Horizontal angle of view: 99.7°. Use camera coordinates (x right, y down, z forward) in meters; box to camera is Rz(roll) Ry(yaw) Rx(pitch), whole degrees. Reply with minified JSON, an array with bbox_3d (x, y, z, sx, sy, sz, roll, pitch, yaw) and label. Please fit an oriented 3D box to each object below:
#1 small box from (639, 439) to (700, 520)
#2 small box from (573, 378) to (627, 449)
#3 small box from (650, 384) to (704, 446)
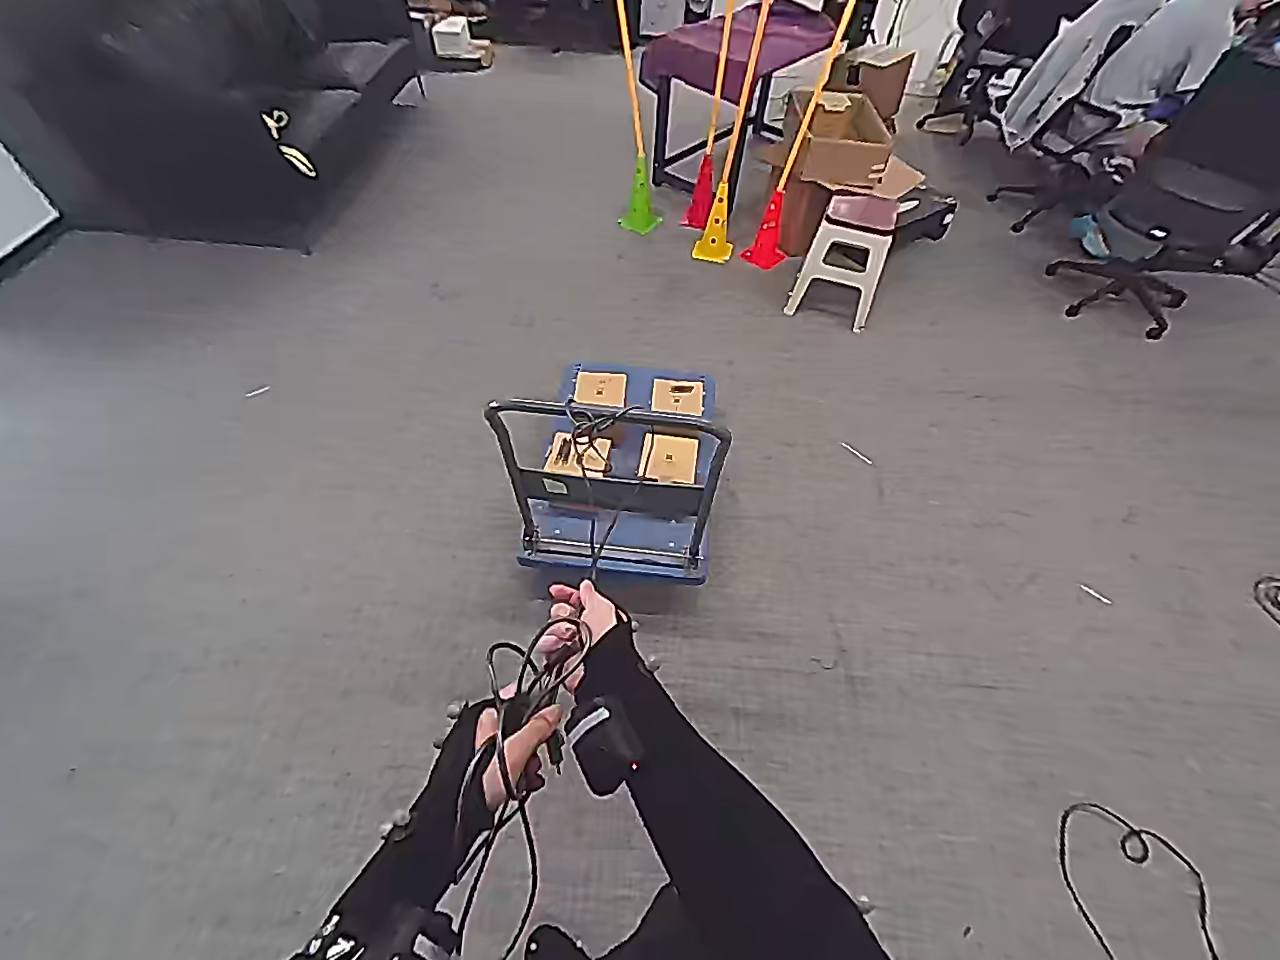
[{"bbox_3d":[0.088,-0.001,1.682,0.168,0.176,0.179,7,55,4],"label":"small box"},{"bbox_3d":[-0.130,-0.224,1.841,0.168,0.176,0.179,4,54,1],"label":"small box"},{"bbox_3d":[0.124,-0.198,1.827,0.168,0.176,0.179,4,54,3],"label":"small box"}]
